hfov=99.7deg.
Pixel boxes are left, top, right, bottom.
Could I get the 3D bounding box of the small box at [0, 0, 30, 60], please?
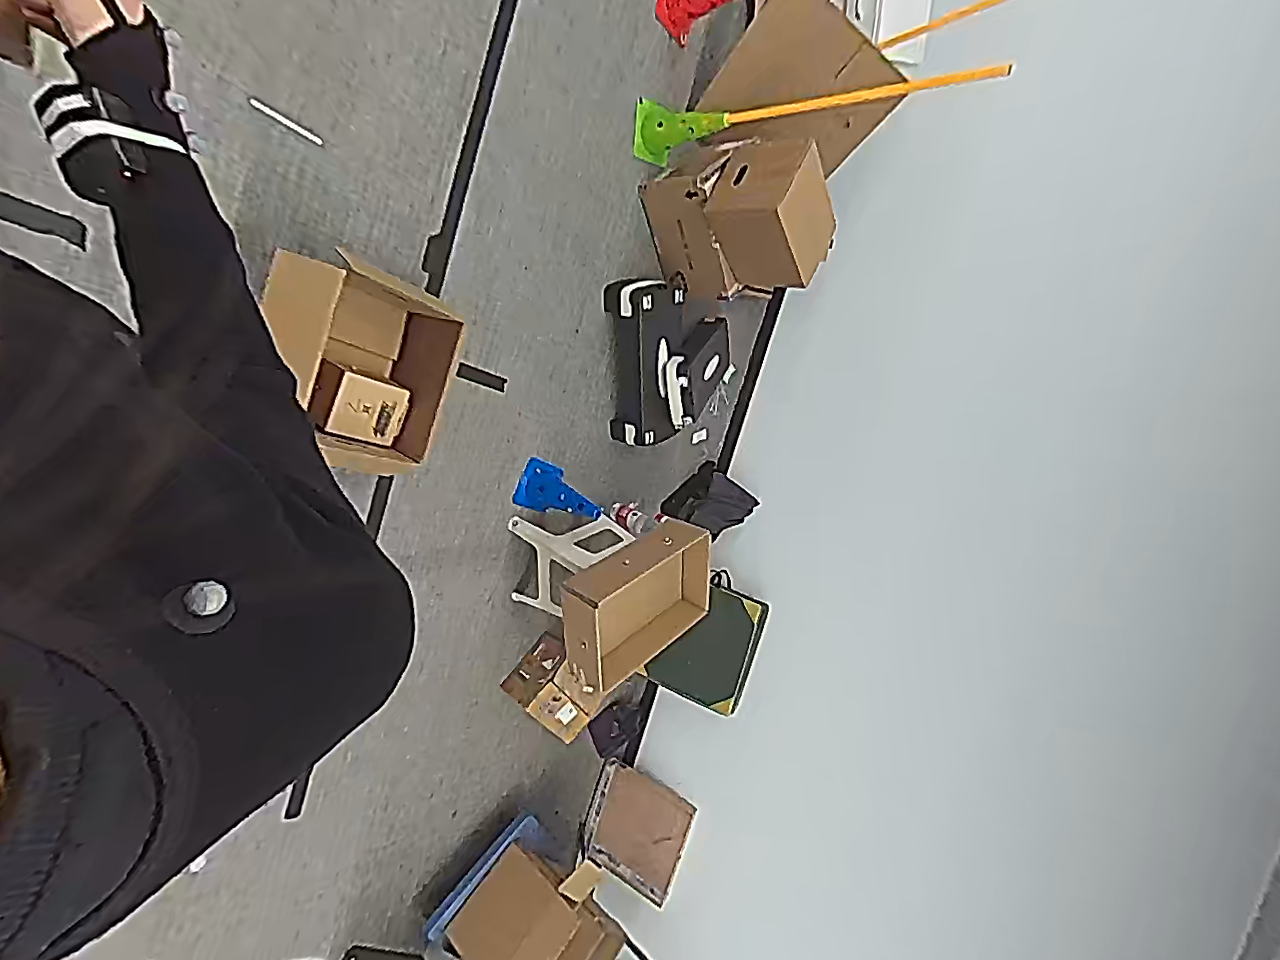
[{"bbox_3d":[-0.575,-0.458,0.399,0.168,0.176,0.179,4,109,-48],"label":"small box"}]
